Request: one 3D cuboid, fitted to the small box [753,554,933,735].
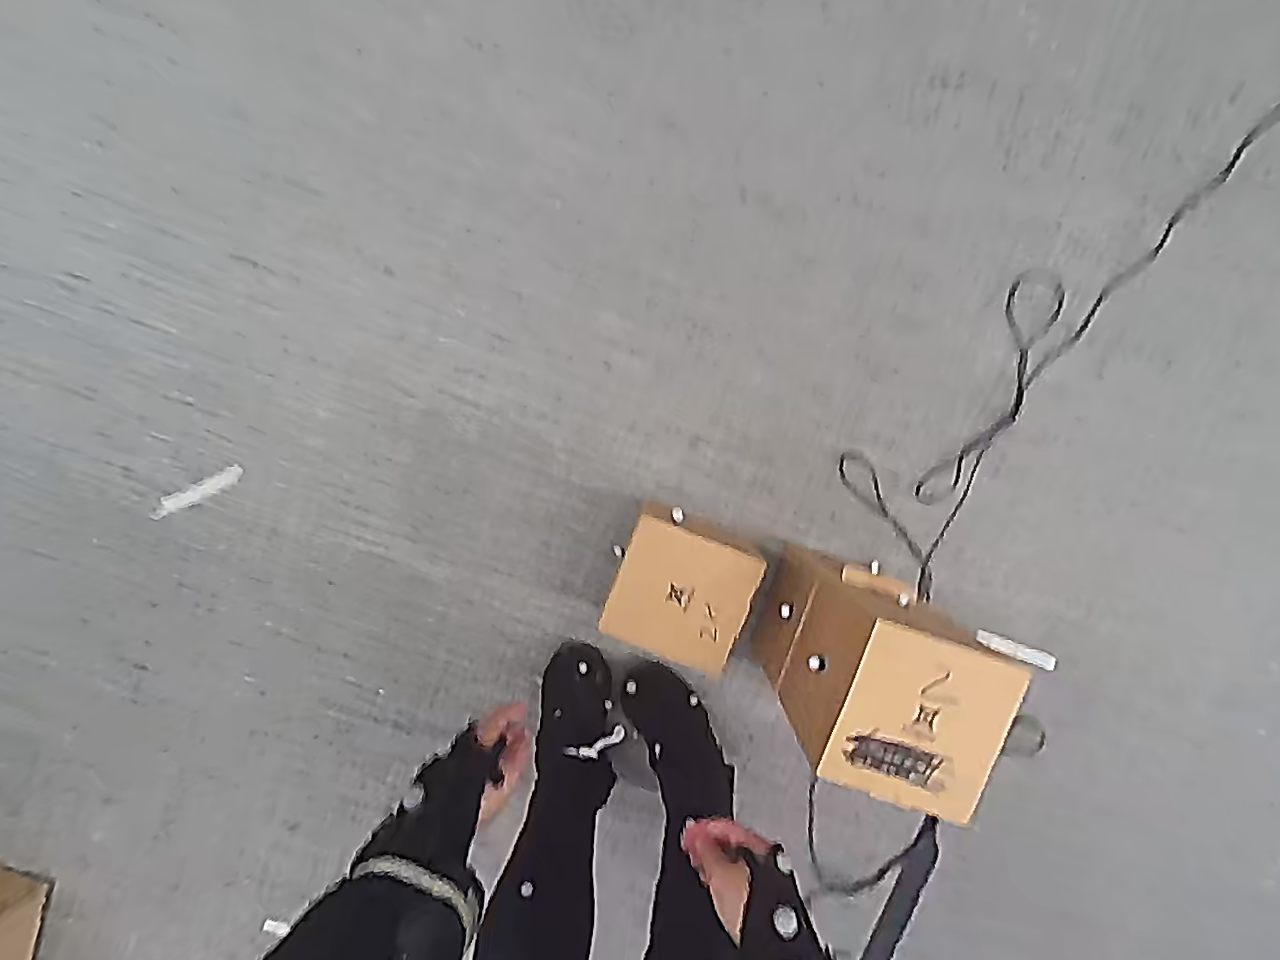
[{"bbox_3d":[0.277,0.223,0.784,0.168,0.176,0.179,18,96,-1],"label":"small box"}]

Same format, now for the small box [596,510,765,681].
[{"bbox_3d":[0.054,0.152,0.780,0.179,0.176,0.168,22,96,0],"label":"small box"}]
